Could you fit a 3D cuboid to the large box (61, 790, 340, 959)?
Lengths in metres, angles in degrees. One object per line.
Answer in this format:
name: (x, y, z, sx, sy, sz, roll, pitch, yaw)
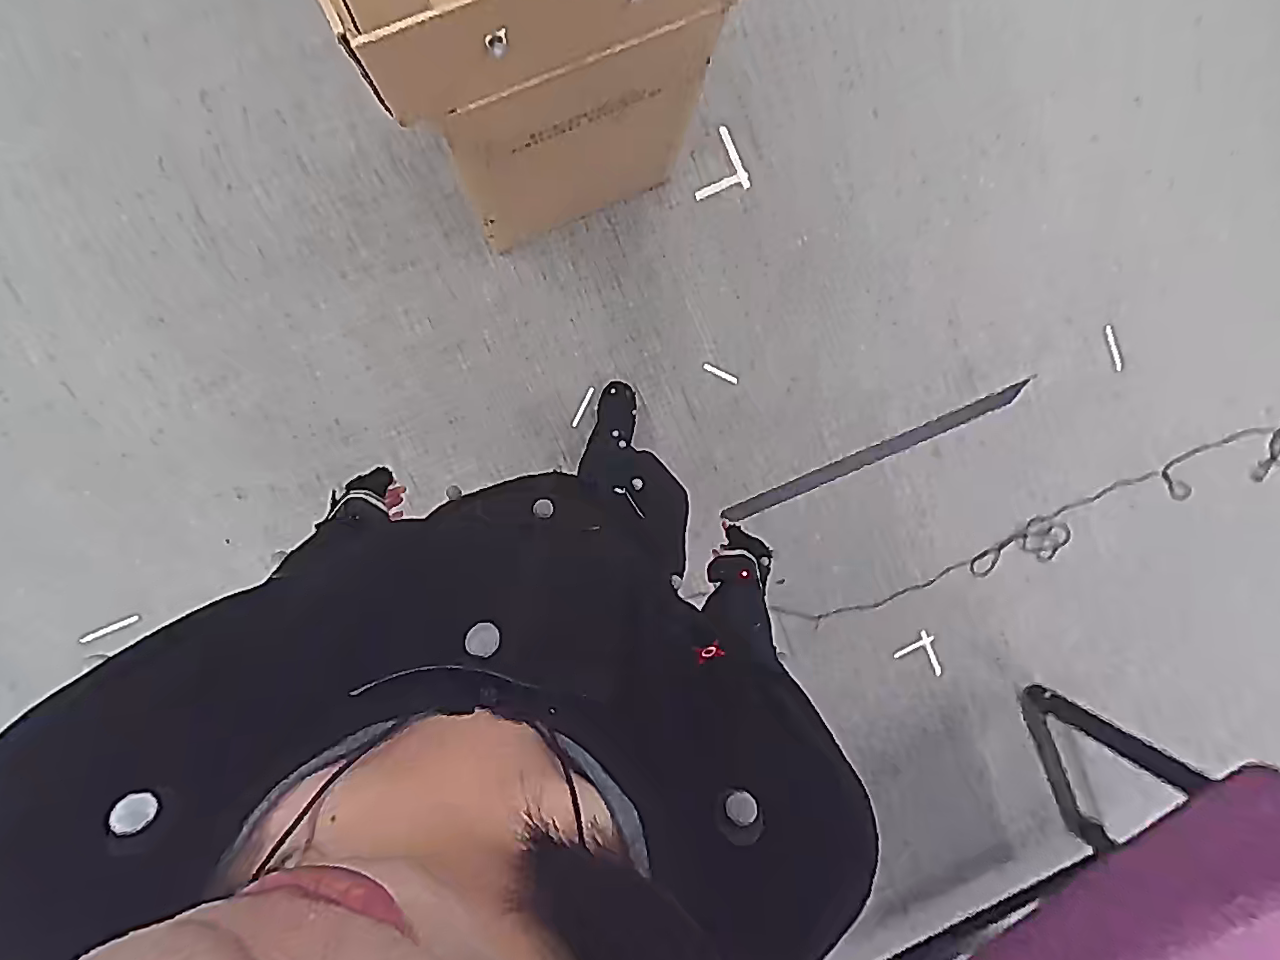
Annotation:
large box: (-1.040, 1.091, 1.339, 0.320, 0.320, 0.408, -25, 96, -5)
